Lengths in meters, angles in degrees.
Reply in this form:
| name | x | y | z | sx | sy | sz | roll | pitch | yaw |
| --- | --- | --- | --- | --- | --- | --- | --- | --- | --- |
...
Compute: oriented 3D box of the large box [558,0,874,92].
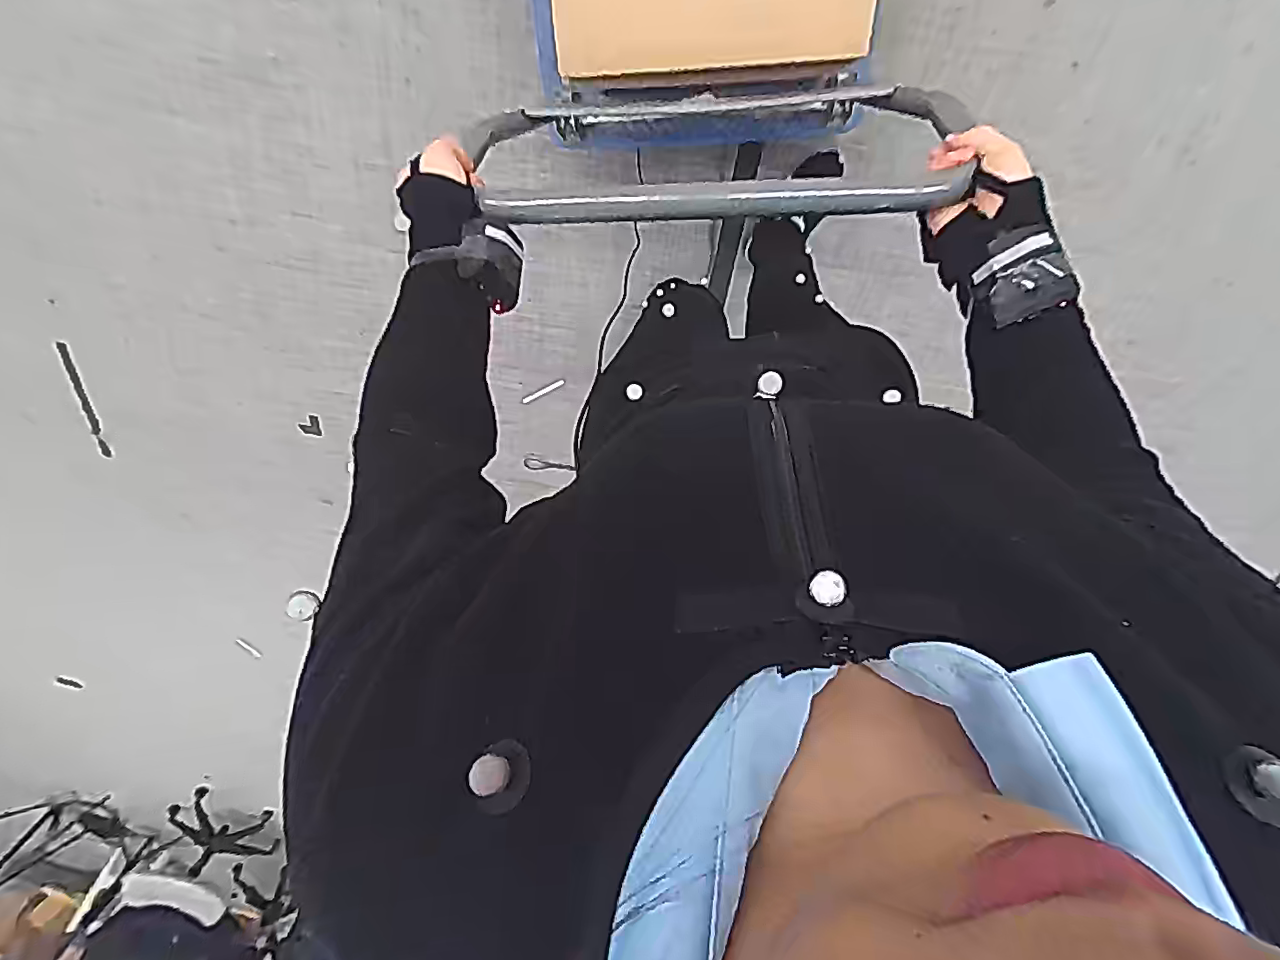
| name | x | y | z | sx | sy | sz | roll | pitch | yaw |
| --- | --- | --- | --- | --- | --- | --- | --- | --- | --- |
| large box | 0.098 | -0.758 | 0.759 | 0.408 | 0.320 | 0.320 | 0 | 124 | 5 |
